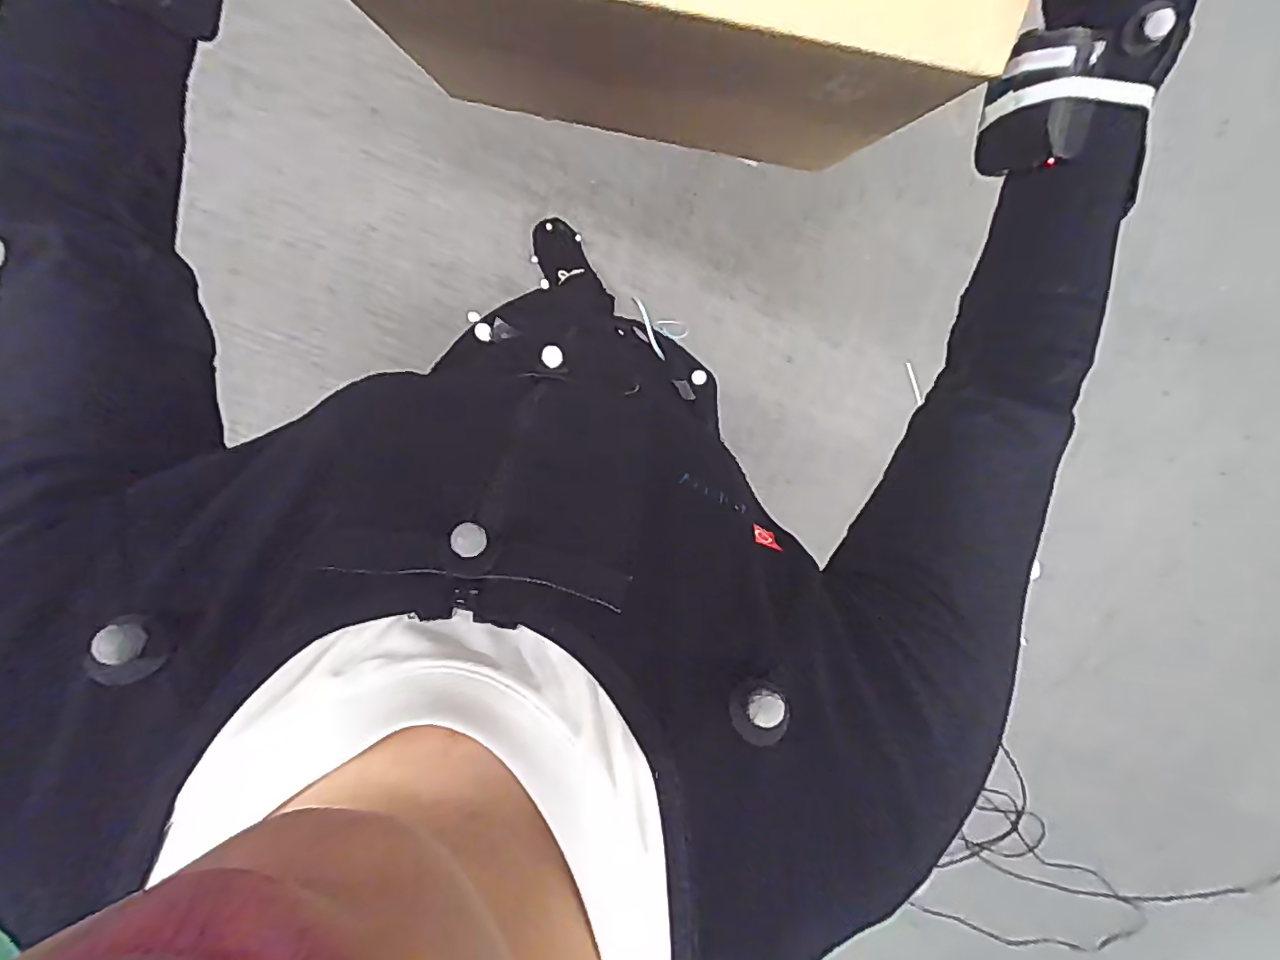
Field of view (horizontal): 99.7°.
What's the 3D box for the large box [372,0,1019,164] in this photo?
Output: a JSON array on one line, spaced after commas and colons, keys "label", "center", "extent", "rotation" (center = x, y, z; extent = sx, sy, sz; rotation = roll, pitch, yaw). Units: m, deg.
[{"label": "large box", "center": [0.029, -0.459, 0.388], "extent": [0.408, 0.320, 0.320], "rotation": [8, 111, -5]}]
